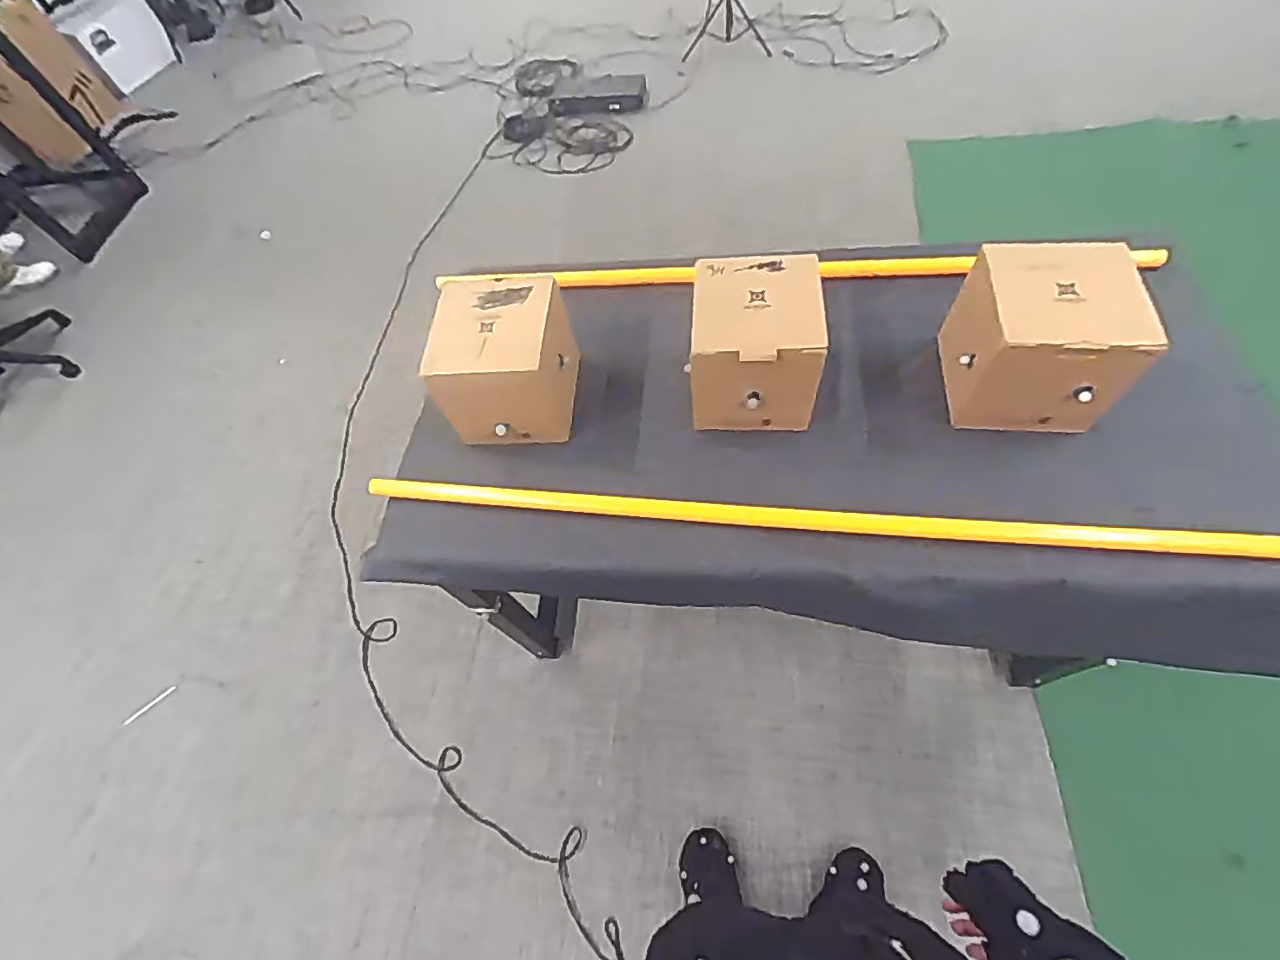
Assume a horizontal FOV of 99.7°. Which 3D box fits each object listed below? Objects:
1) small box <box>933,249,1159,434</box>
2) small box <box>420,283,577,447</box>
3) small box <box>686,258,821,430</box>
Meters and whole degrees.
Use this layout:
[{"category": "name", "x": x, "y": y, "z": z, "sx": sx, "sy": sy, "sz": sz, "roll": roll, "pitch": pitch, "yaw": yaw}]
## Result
[{"category": "small box", "x": 0.511, "y": -0.178, "z": 0.715, "sx": 0.168, "sy": 0.176, "sz": 0.179, "roll": 4, "pitch": 59, "yaw": 9}, {"category": "small box", "x": -0.195, "y": -0.166, "z": 0.807, "sx": 0.168, "sy": 0.176, "sz": 0.179, "roll": -1, "pitch": 60, "yaw": 7}, {"category": "small box", "x": 0.155, "y": -0.182, "z": 0.771, "sx": 0.168, "sy": 0.176, "sz": 0.179, "roll": -2, "pitch": 59, "yaw": 8}]
